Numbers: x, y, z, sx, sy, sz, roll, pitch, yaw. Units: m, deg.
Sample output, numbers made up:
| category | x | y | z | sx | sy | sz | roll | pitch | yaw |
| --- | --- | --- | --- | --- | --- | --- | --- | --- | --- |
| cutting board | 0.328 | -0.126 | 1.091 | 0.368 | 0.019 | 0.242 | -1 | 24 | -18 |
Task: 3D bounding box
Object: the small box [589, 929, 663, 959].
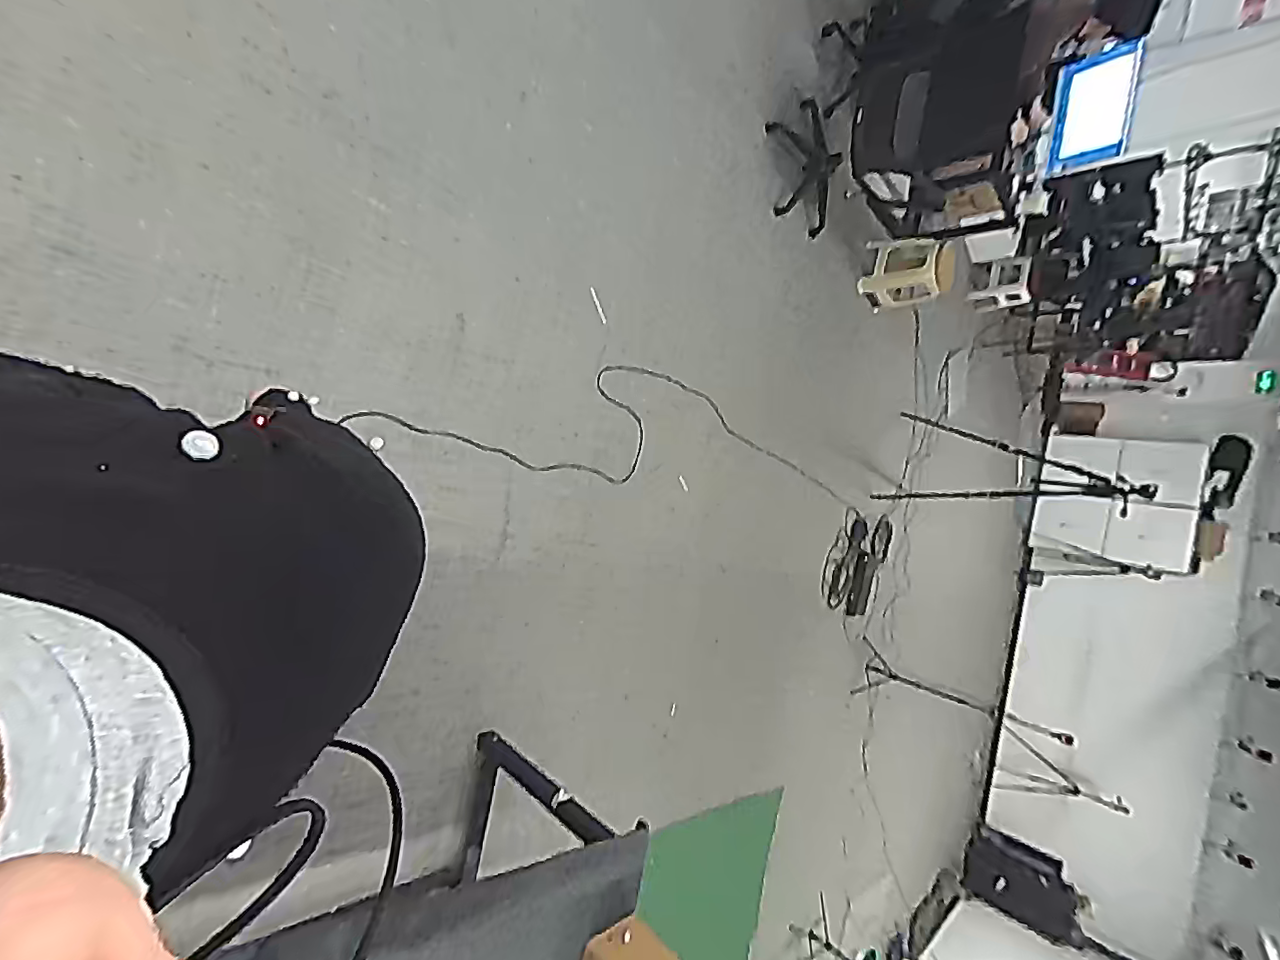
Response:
| category | x | y | z | sx | sy | sz | roll | pitch | yaw |
| --- | --- | --- | --- | --- | --- | --- | --- | --- | --- |
| small box | -0.025 | 1.210 | 1.251 | 0.168 | 0.176 | 0.179 | 13 | 87 | -46 |
